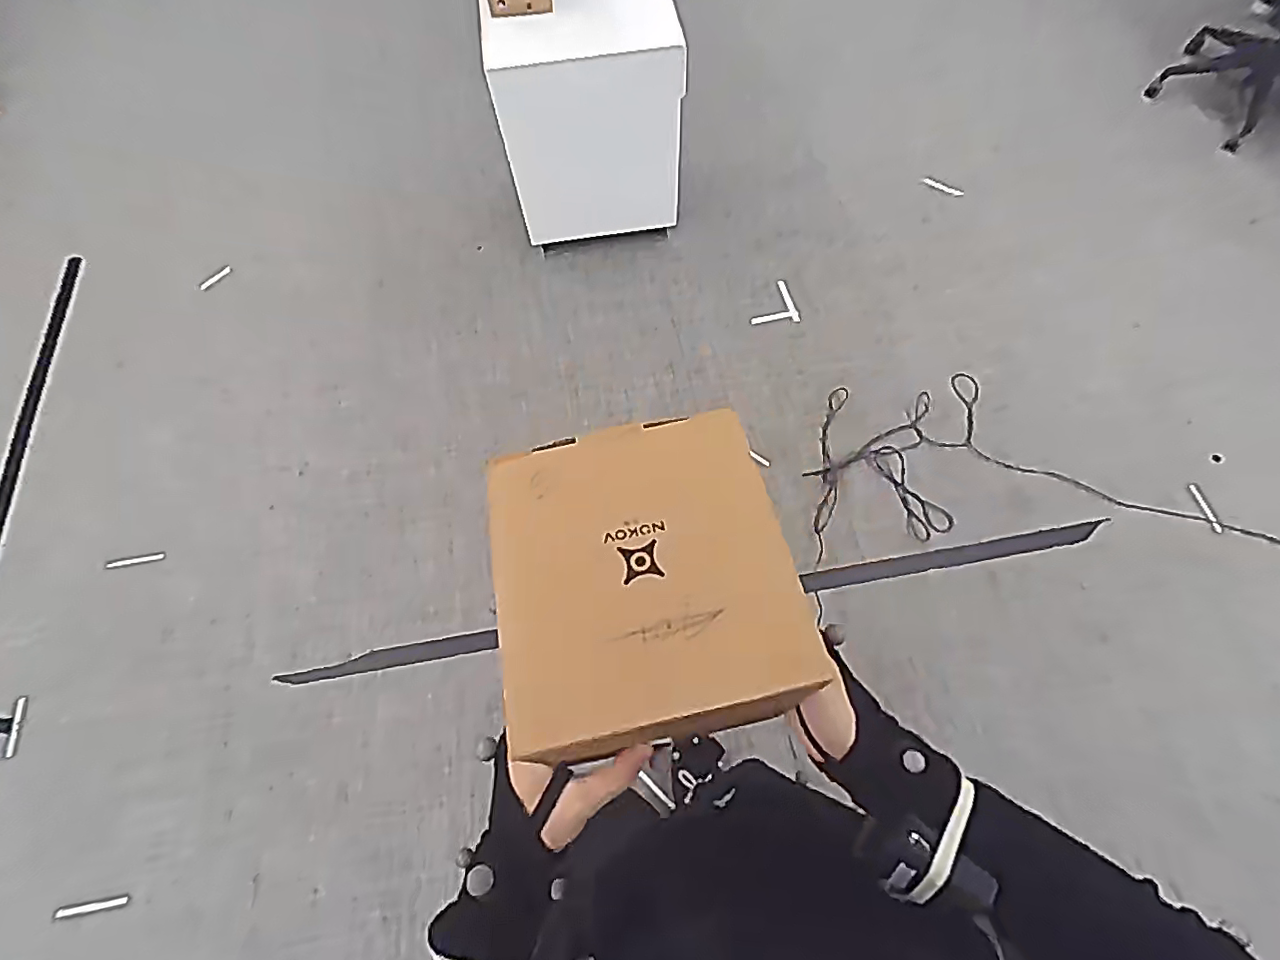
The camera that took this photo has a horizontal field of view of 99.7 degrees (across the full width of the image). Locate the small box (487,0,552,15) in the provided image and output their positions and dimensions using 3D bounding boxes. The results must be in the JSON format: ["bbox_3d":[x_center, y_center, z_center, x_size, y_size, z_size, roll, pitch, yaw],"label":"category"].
[{"bbox_3d":[-0.325,-1.336,1.389,0.168,0.176,0.179,-7,67,-2],"label":"small box"}]

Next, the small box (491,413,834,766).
[{"bbox_3d":[0.004,0.083,0.374,0.168,0.176,0.179,-12,61,-4],"label":"small box"}]
